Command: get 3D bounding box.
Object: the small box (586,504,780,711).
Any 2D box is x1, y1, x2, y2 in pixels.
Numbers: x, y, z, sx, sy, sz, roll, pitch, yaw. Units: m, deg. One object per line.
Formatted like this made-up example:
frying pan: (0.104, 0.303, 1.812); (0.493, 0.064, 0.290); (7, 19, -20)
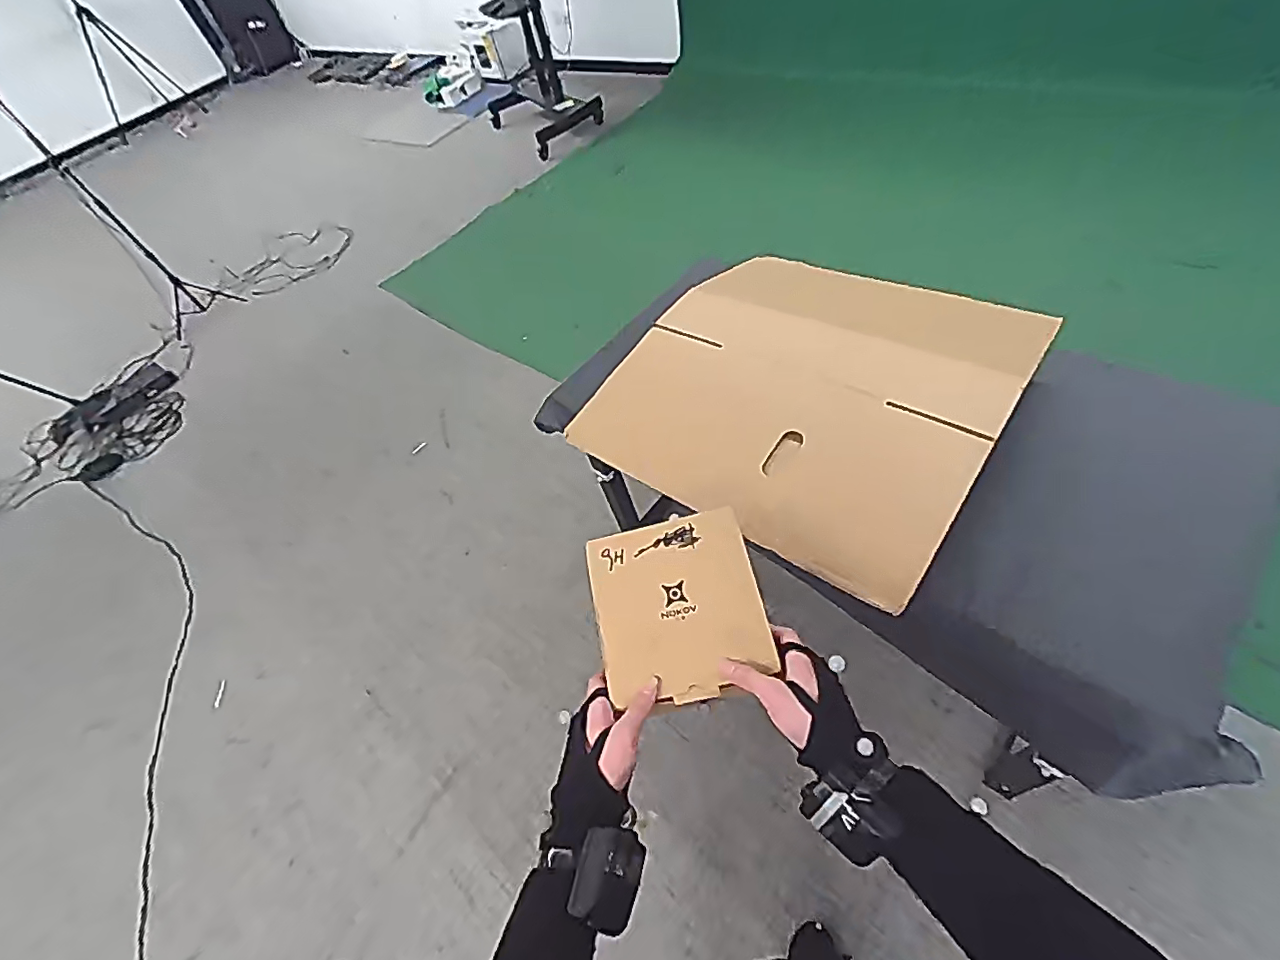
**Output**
small box: (0.052, 0.154, 0.617); (0.168, 0.176, 0.179); (-17, 63, 3)
